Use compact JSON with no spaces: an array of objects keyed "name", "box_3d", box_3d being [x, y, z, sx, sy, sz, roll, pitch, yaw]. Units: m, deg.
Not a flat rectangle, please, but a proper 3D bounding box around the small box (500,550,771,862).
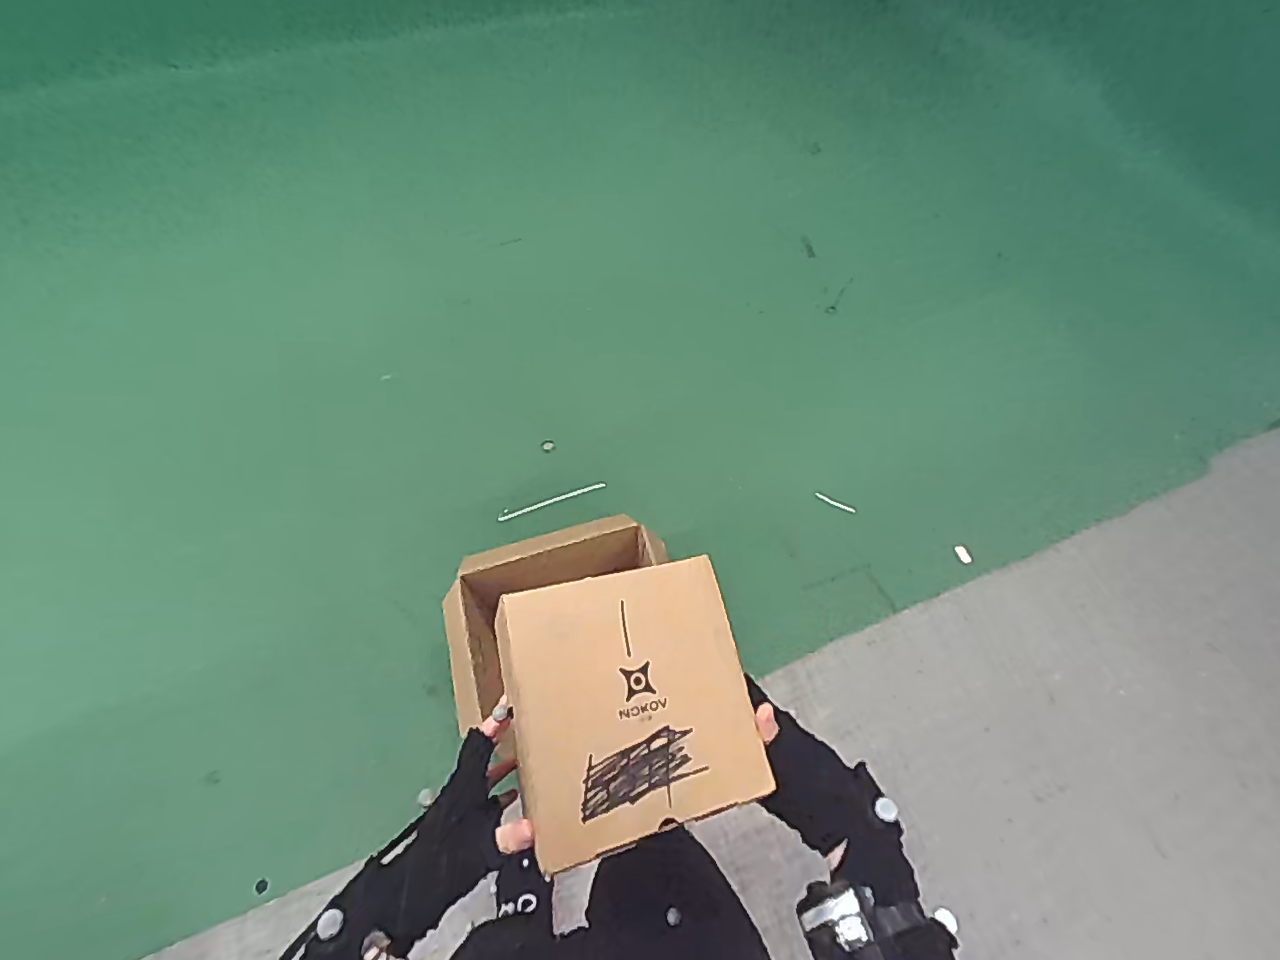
[{"name":"small box","box_3d":[-0.022,0.174,0.454,0.168,0.176,0.179,-8,71,-20]}]
